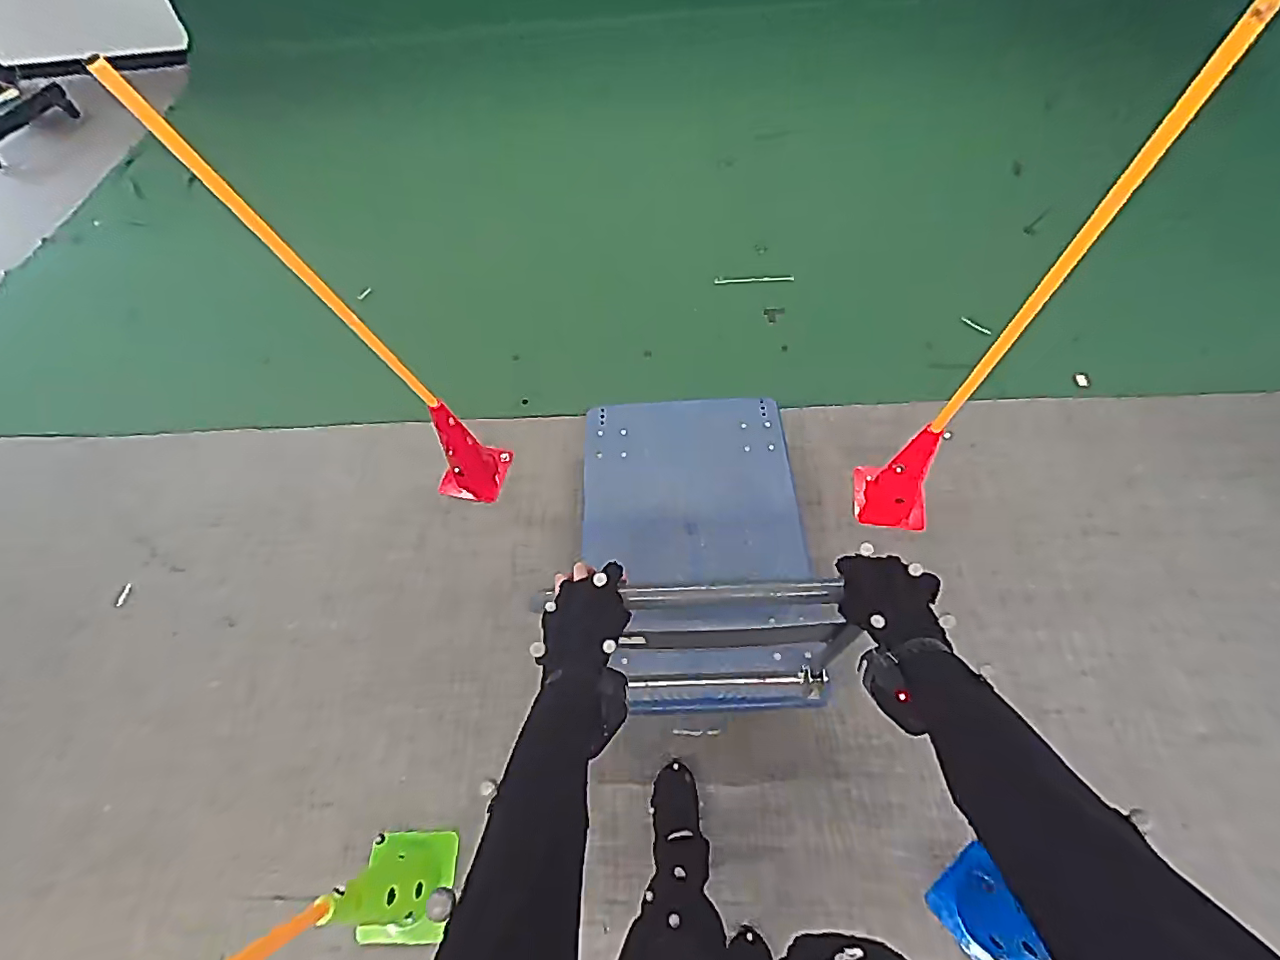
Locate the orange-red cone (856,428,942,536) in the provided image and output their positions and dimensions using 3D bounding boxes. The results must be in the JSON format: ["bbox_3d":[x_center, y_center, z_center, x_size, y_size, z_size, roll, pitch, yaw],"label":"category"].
[{"bbox_3d":[0.738,-0.019,1.476,0.198,0.360,0.199,8,60,10],"label":"orange-red cone"}]
